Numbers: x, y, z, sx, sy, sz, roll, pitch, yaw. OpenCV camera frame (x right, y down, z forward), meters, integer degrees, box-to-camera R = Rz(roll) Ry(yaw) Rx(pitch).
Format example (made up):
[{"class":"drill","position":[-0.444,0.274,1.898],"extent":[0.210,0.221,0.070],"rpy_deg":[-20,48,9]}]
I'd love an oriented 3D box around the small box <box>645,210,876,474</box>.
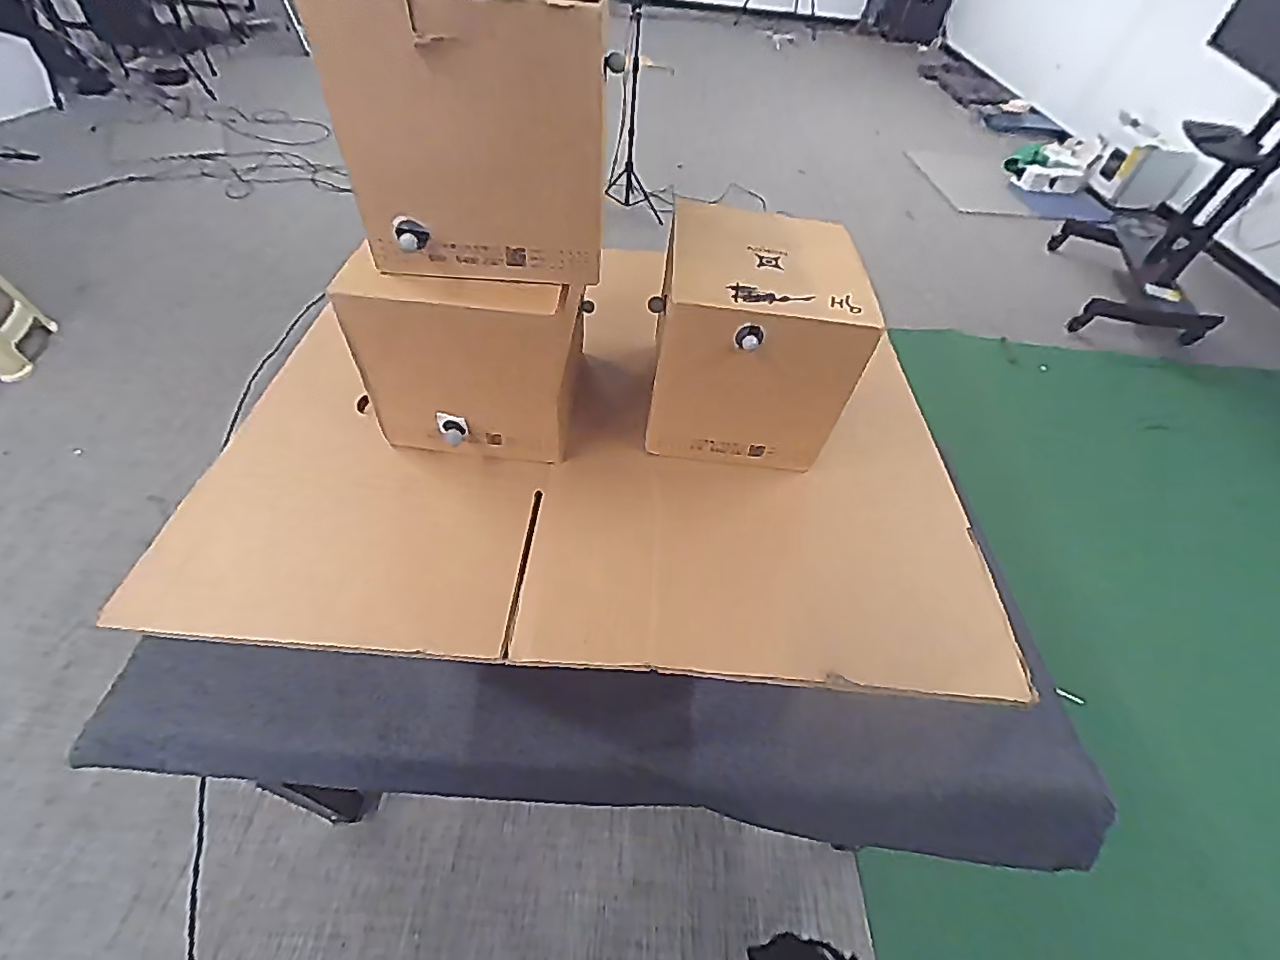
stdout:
[{"class":"small box","position":[0.097,-0.131,0.525],"extent":[0.168,0.176,0.179],"rpy_deg":[7,49,-2]}]

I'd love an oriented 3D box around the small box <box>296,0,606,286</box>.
[{"class":"small box","position":[-0.111,-0.265,0.409],"extent":[0.168,0.176,0.179],"rpy_deg":[2,49,-4]}]

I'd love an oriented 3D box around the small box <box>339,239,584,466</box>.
[{"class":"small box","position":[-0.144,-0.137,0.513],"extent":[0.168,0.176,0.179],"rpy_deg":[4,51,-1]}]
